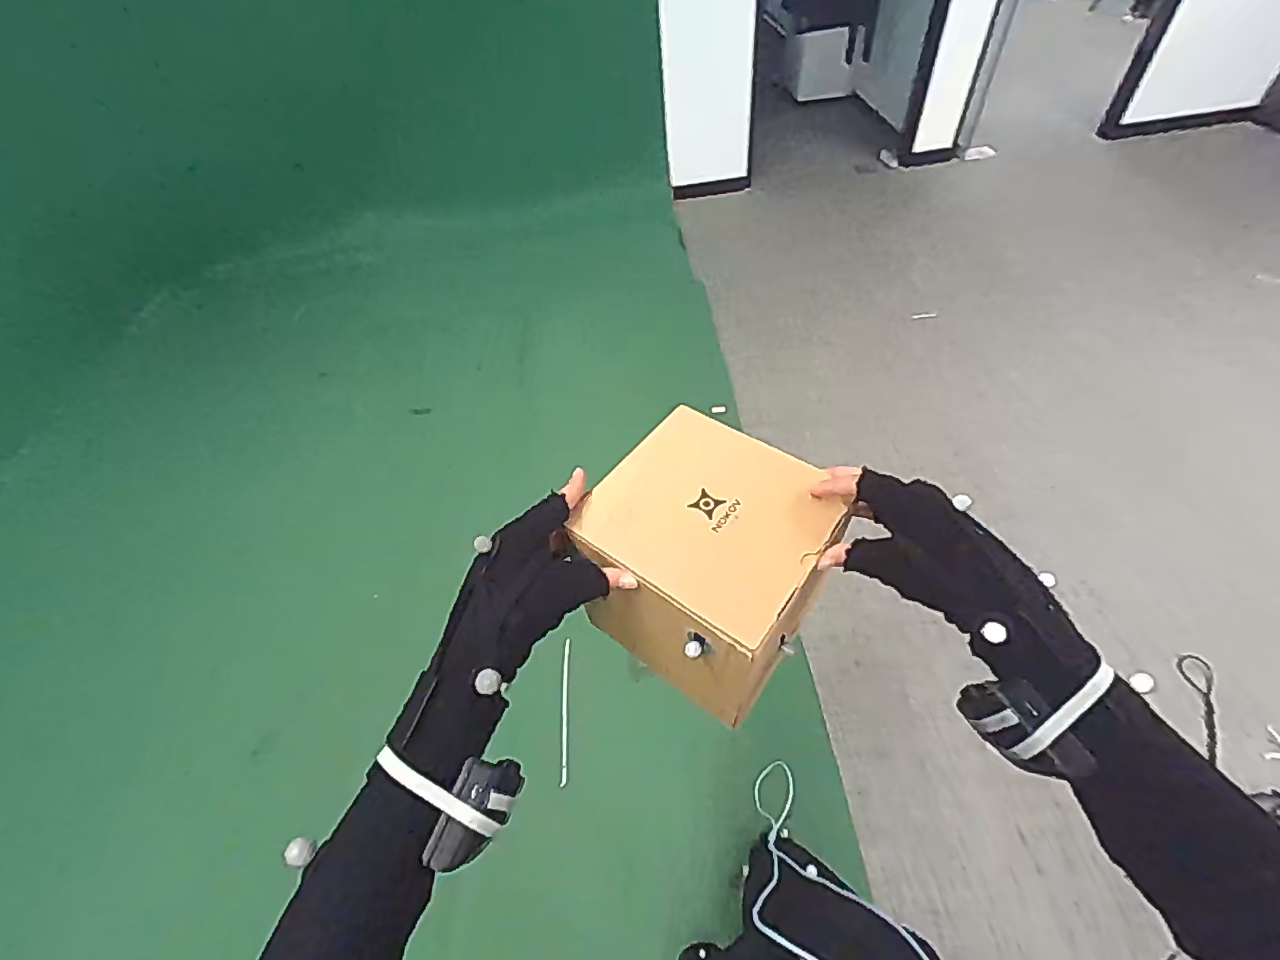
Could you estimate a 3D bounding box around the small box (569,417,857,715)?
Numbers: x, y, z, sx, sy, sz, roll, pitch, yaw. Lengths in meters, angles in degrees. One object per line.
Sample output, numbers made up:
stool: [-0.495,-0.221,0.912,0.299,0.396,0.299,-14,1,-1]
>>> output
small box: [0.061,0.079,0.492,0.179,0.176,0.168,31,58,25]
